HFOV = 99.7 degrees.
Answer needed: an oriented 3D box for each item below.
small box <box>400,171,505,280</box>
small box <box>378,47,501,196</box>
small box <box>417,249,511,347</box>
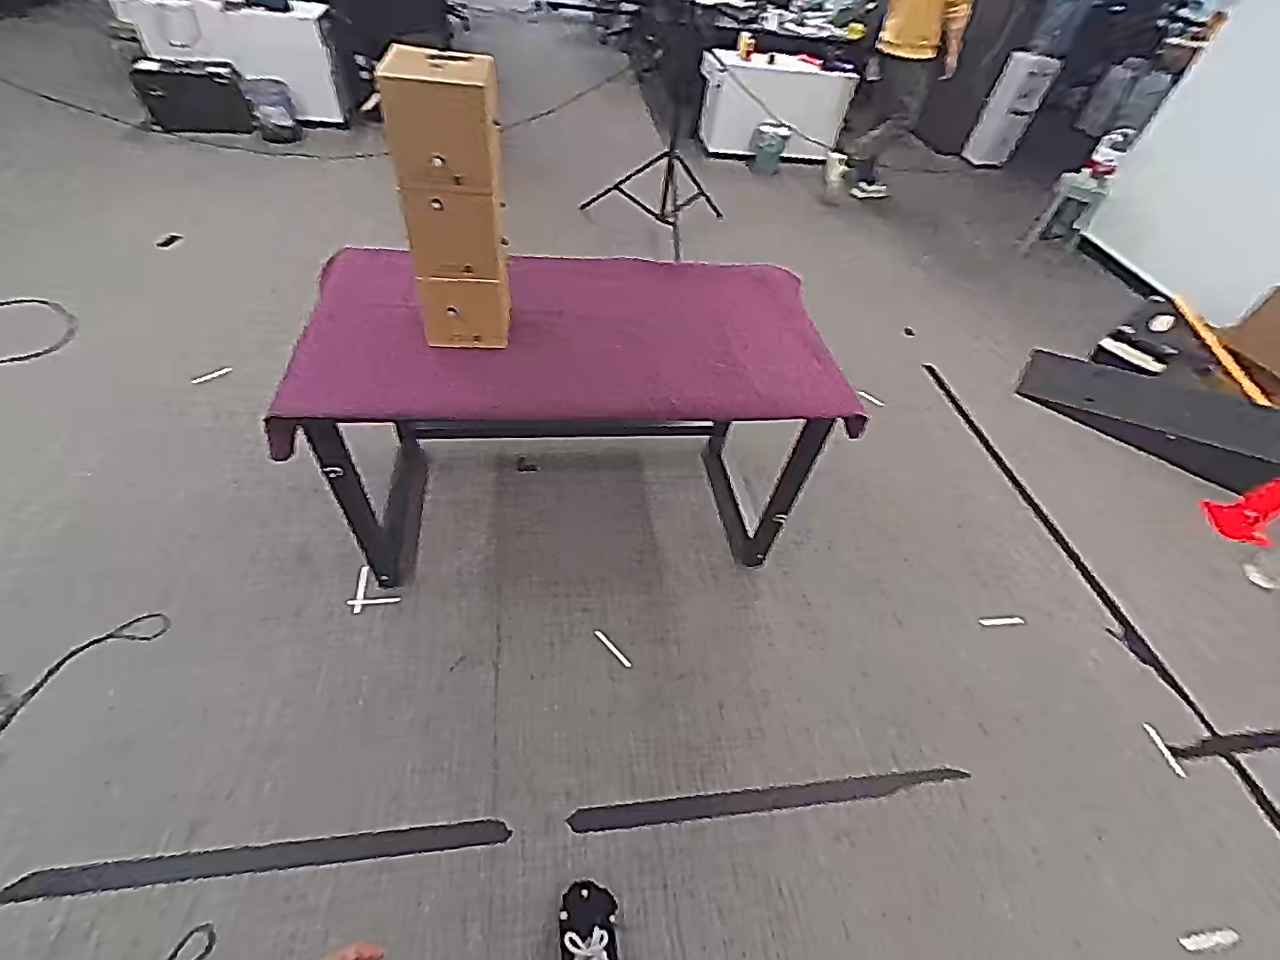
[{"bbox_3d":[-0.361,-0.520,1.074,0.168,0.176,0.179,-2,49,-9],"label":"small box"},{"bbox_3d":[-0.338,-0.626,0.949,0.168,0.176,0.179,-1,50,-9],"label":"small box"},{"bbox_3d":[-0.378,-0.409,1.193,0.168,0.176,0.179,-1,49,-9],"label":"small box"}]
